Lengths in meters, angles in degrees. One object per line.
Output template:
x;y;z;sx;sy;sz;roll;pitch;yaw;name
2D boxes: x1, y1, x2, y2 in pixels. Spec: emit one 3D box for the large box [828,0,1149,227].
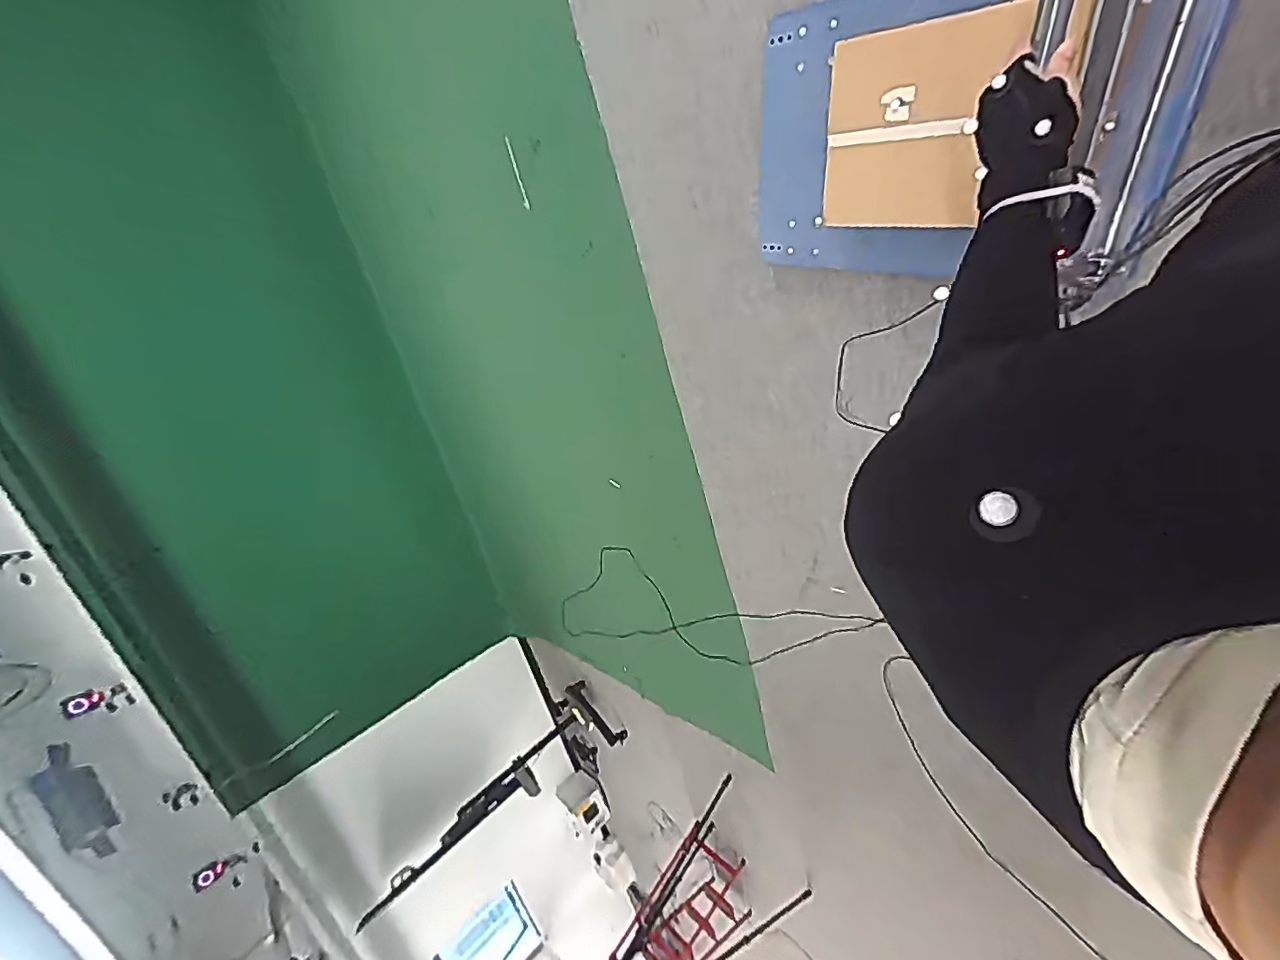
0.628;-0.673;1.024;0.408;0.320;0.320;25;132;42;large box
